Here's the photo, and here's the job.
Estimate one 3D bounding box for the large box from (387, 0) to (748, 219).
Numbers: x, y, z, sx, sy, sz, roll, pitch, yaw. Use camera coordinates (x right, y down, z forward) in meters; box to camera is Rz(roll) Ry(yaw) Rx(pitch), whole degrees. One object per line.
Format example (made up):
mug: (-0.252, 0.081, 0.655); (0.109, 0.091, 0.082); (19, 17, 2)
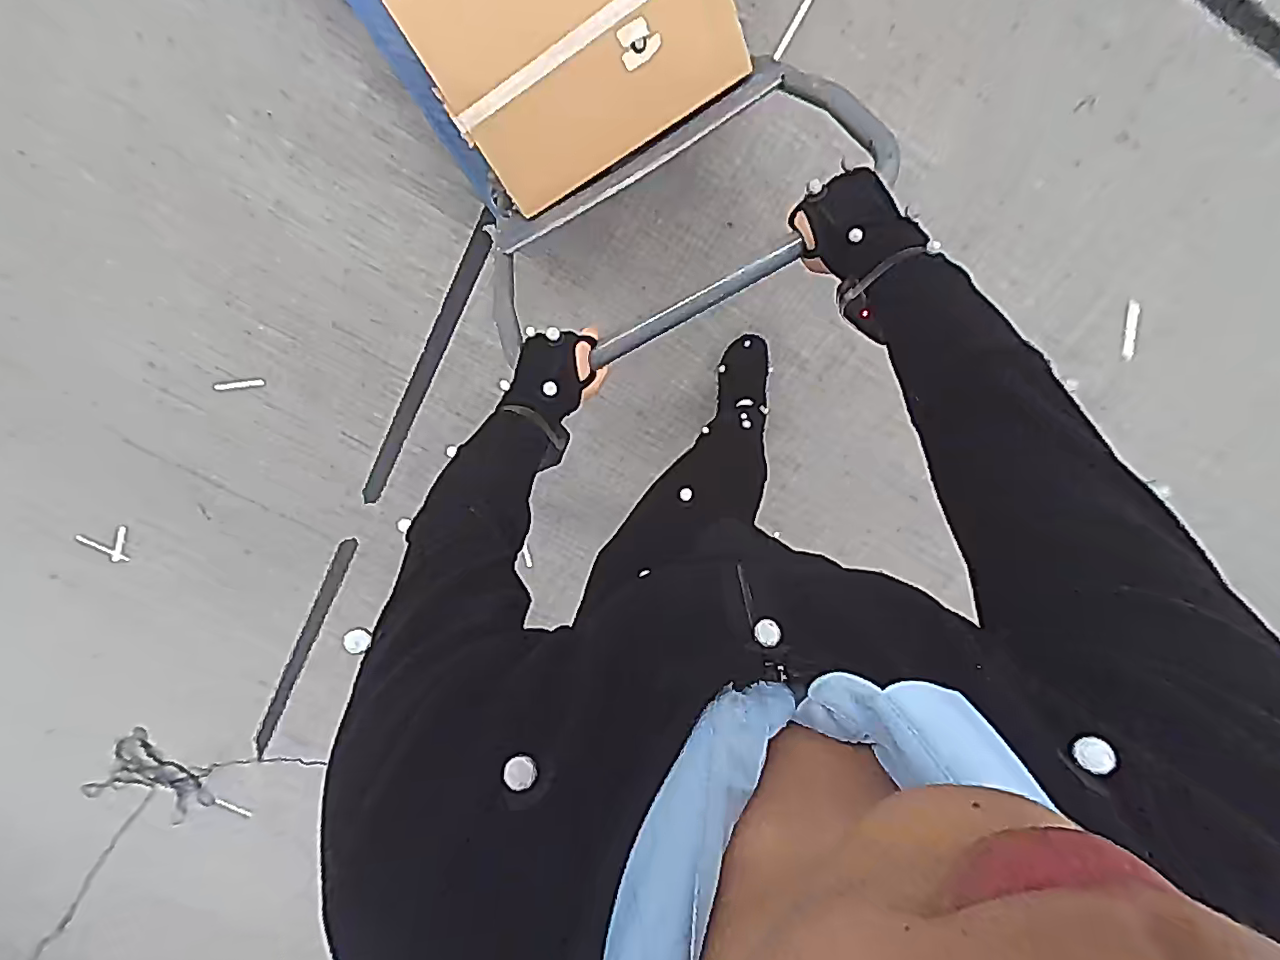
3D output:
large box: (-0.107, -0.696, 0.847); (0.408, 0.320, 0.320); (-28, 131, 12)
